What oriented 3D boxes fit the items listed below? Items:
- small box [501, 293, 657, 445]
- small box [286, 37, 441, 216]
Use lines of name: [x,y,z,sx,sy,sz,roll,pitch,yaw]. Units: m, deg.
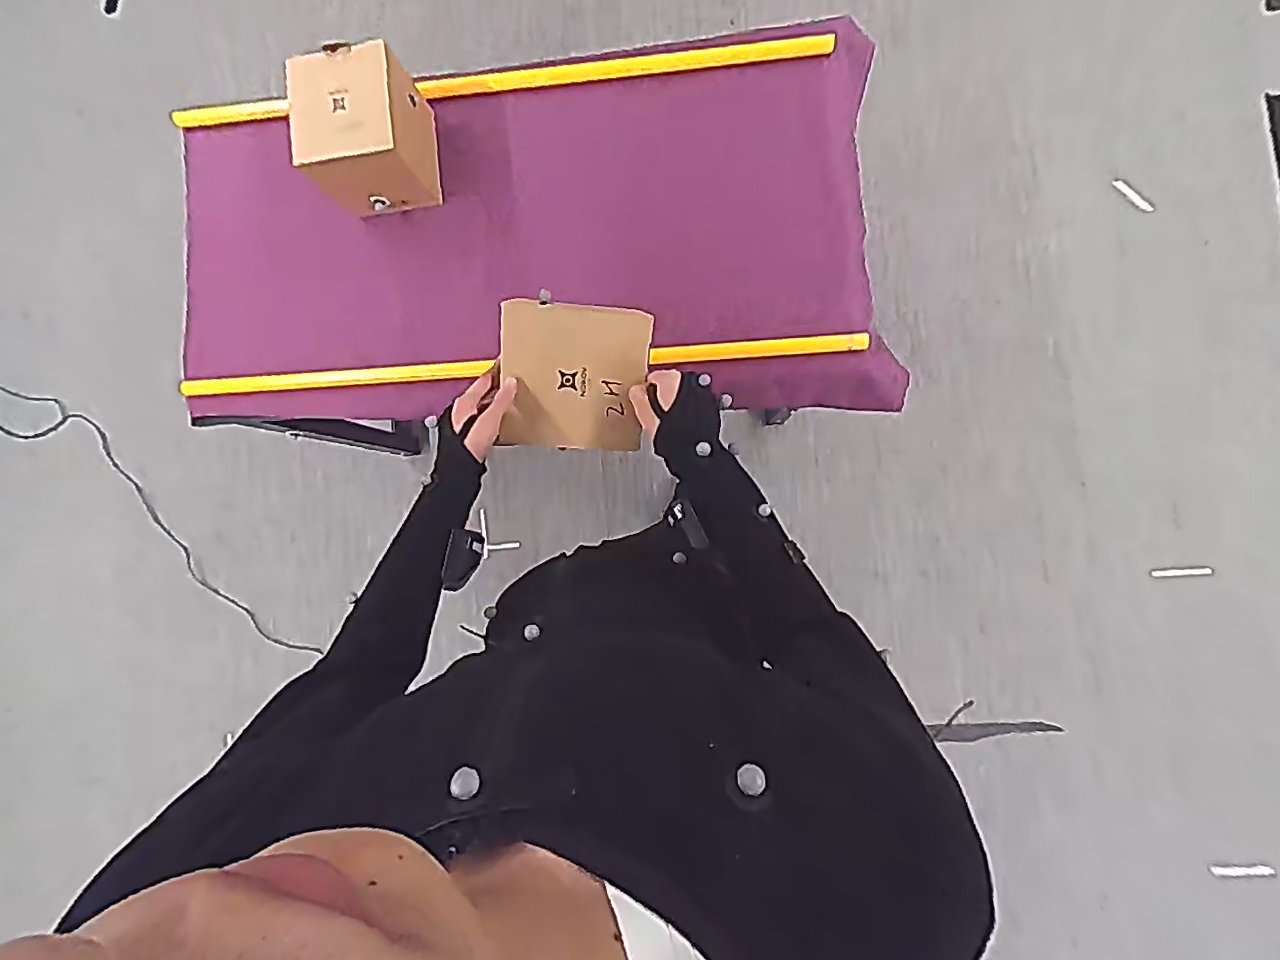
small box: [-0.083,-0.151,0.711,0.179,0.176,0.168,3,110,-8]
small box: [-0.450,-0.576,0.901,0.168,0.176,0.179,-6,88,5]
